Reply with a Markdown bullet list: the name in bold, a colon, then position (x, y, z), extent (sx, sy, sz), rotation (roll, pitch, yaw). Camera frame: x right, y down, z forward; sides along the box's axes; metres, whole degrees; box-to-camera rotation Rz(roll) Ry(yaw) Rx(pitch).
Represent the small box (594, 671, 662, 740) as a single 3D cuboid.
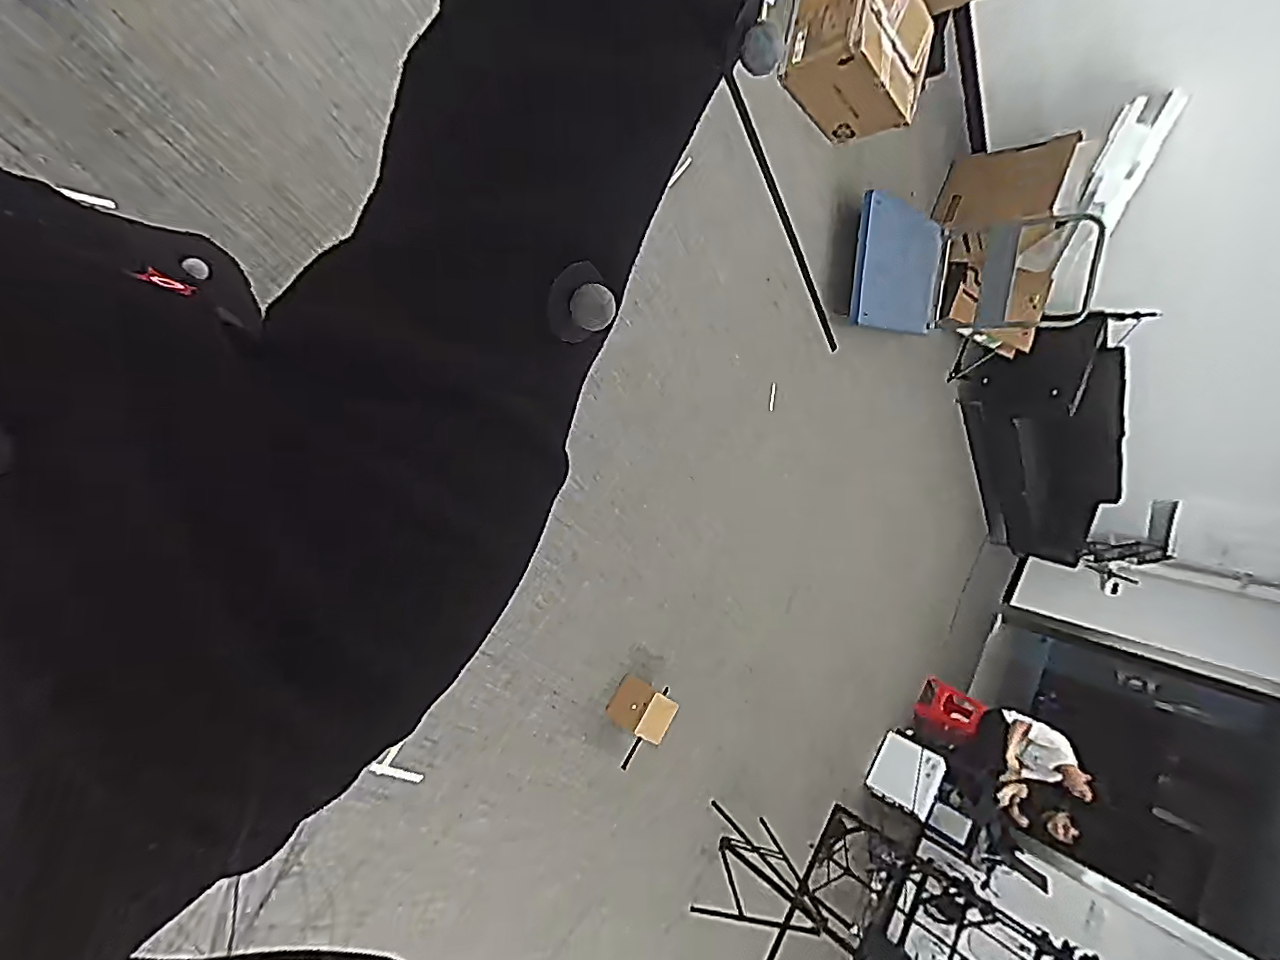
- **small box**: position (-0.038, 0.874, 2.089), extent (0.179, 0.176, 0.168), rotation (47, 67, -41)
